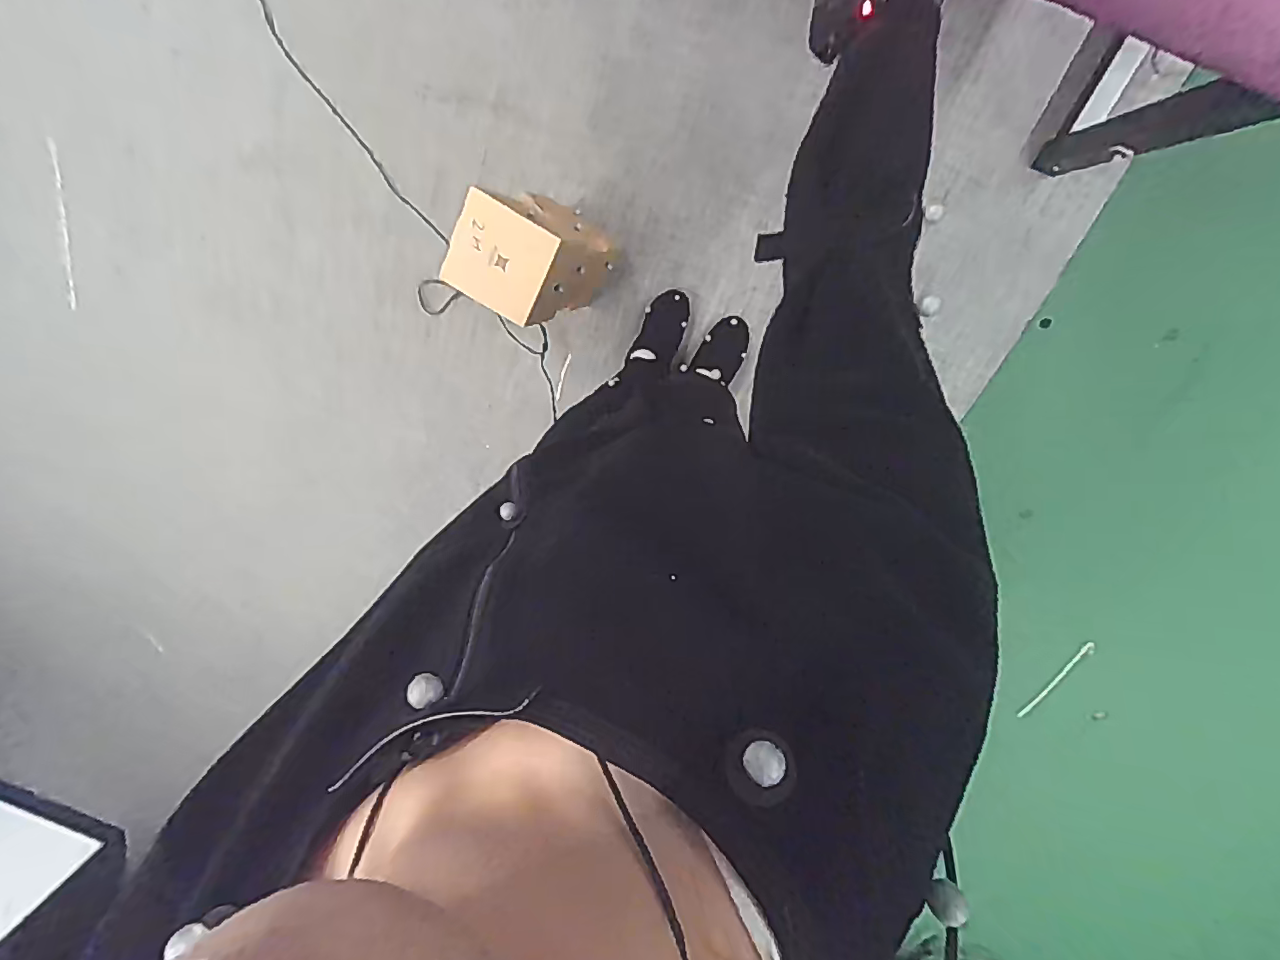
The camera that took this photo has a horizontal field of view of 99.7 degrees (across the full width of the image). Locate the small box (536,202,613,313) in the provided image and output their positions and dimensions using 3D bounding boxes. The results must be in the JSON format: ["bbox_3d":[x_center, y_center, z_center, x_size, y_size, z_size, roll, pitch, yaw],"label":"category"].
[{"bbox_3d":[-0.180,-0.526,1.285,0.168,0.176,0.179,38,114,-6],"label":"small box"}]

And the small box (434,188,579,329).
[{"bbox_3d":[-0.233,-0.401,0.987,0.179,0.176,0.168,31,113,-2],"label":"small box"}]
